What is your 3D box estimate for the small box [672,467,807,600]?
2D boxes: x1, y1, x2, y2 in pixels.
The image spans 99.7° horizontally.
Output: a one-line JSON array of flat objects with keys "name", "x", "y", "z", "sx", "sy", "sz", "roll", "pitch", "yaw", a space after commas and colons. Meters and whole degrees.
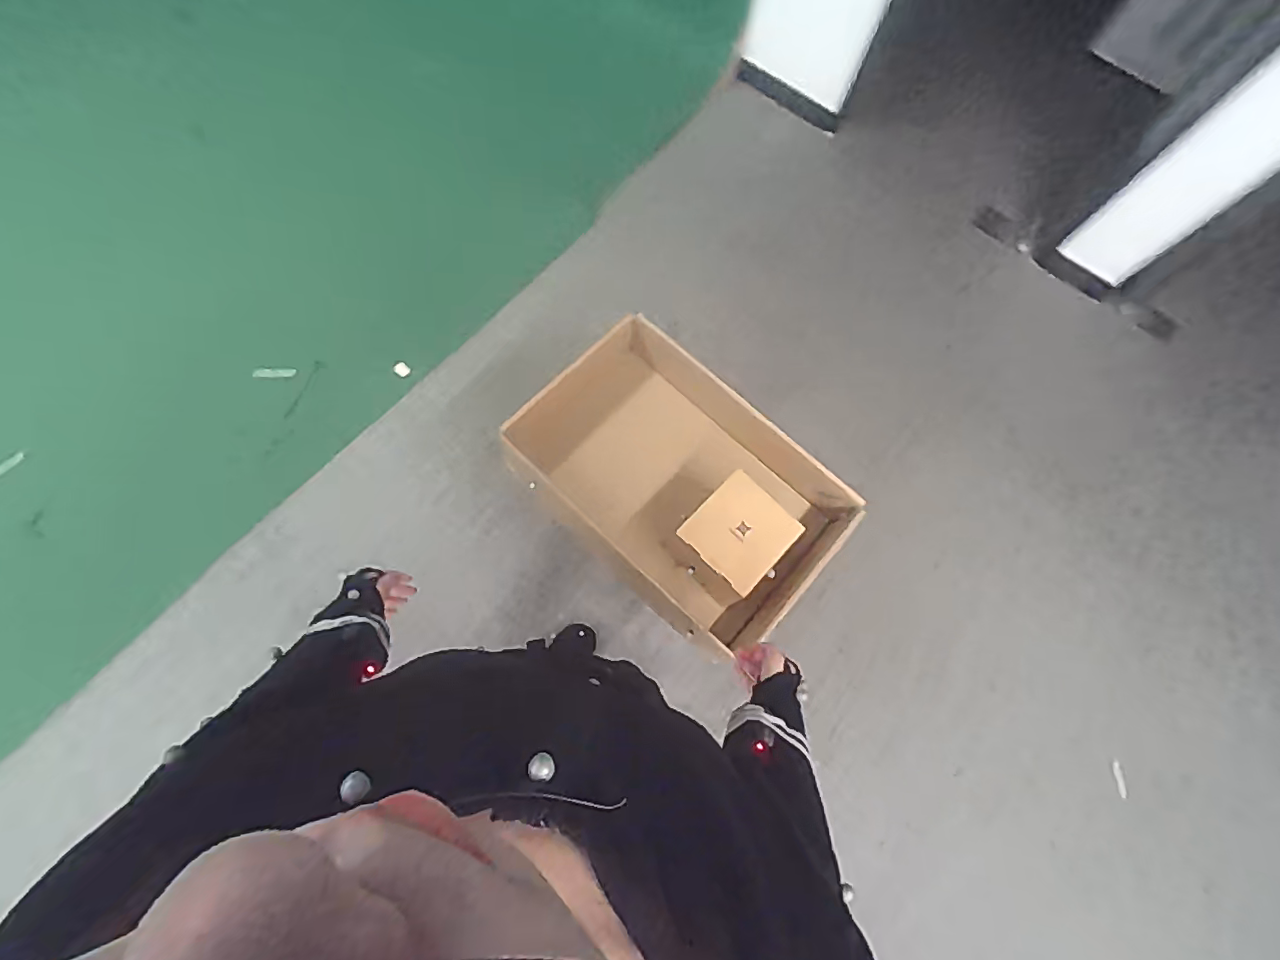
[{"name": "small box", "x": 0.179, "y": 0.109, "z": 1.037, "sx": 0.168, "sy": 0.176, "sz": 0.179, "roll": 44, "pitch": 75, "yaw": 10}]
